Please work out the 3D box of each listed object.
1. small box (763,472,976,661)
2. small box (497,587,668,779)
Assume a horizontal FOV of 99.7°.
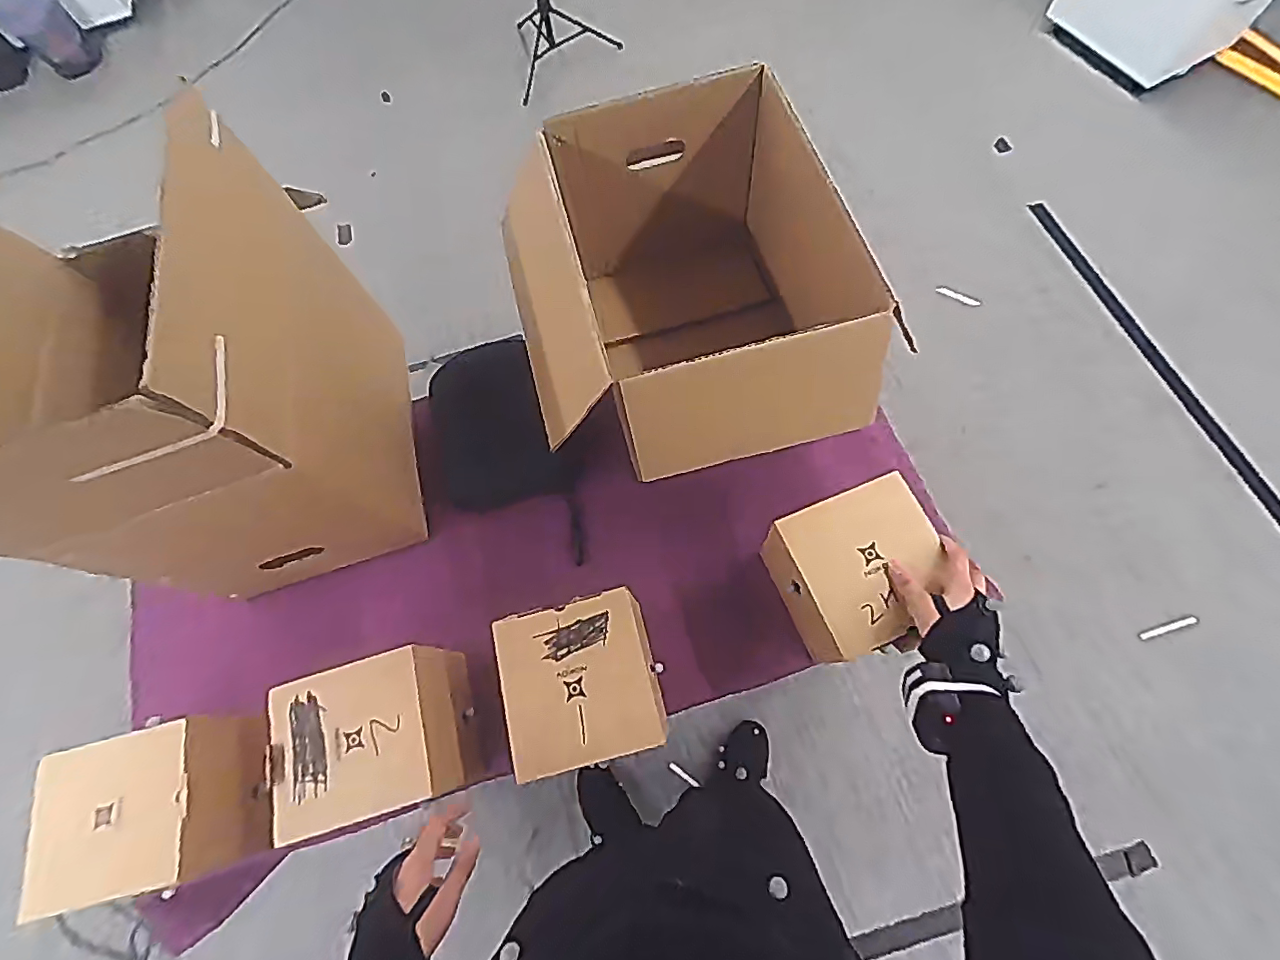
[{"bbox_3d":[0.272,0.120,0.694,0.168,0.176,0.179,-23,70,-2],"label":"small box"},{"bbox_3d":[-0.064,0.249,0.679,0.168,0.176,0.179,-15,71,0],"label":"small box"}]
